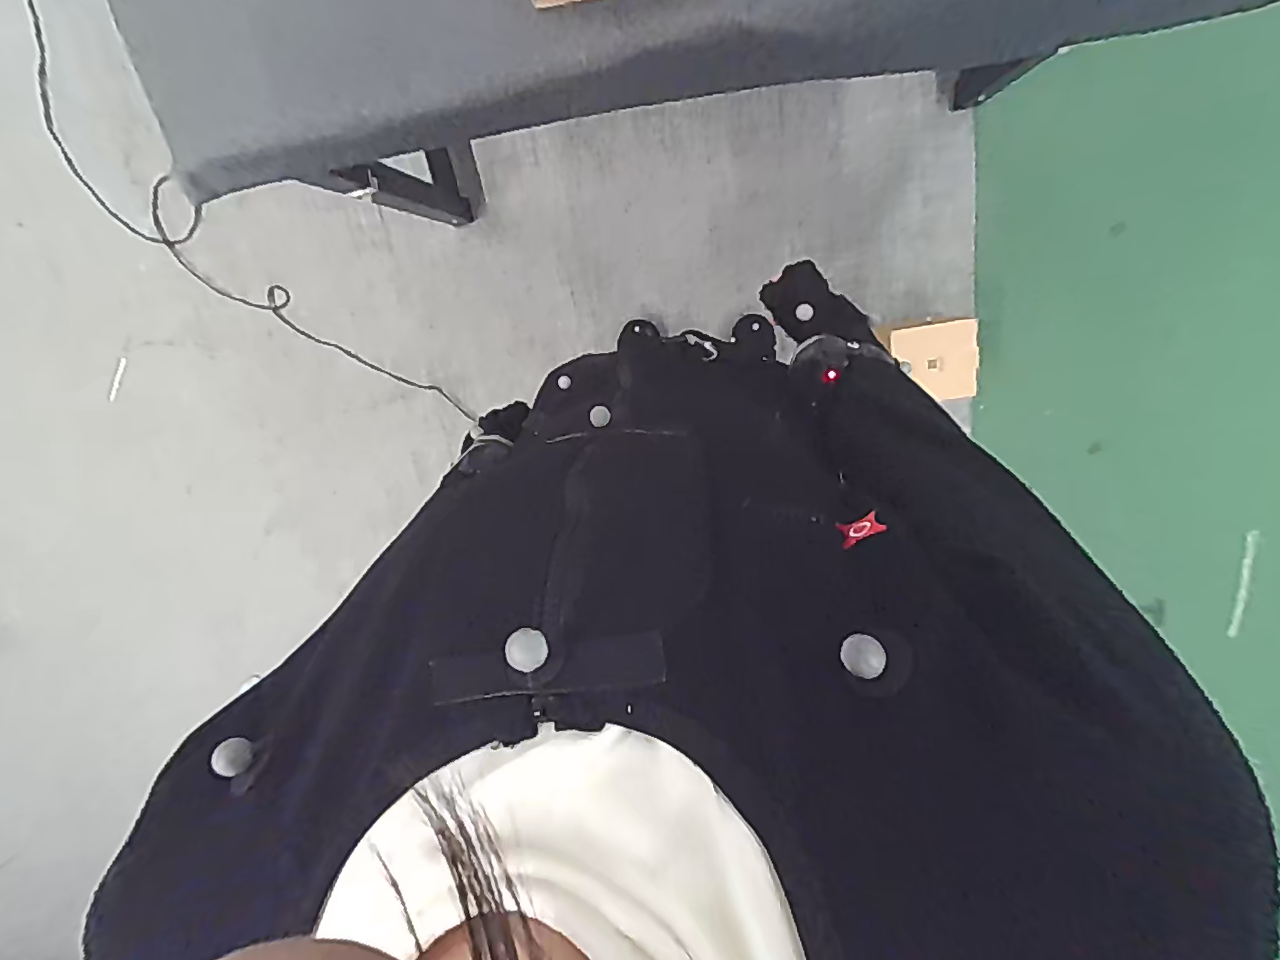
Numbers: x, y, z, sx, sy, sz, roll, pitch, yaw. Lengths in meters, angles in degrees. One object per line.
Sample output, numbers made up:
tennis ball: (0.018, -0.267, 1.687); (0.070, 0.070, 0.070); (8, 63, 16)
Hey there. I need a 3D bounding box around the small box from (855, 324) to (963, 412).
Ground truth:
small box: (0.608, -0.261, 1.239); (0.179, 0.176, 0.168); (-7, 106, 8)
